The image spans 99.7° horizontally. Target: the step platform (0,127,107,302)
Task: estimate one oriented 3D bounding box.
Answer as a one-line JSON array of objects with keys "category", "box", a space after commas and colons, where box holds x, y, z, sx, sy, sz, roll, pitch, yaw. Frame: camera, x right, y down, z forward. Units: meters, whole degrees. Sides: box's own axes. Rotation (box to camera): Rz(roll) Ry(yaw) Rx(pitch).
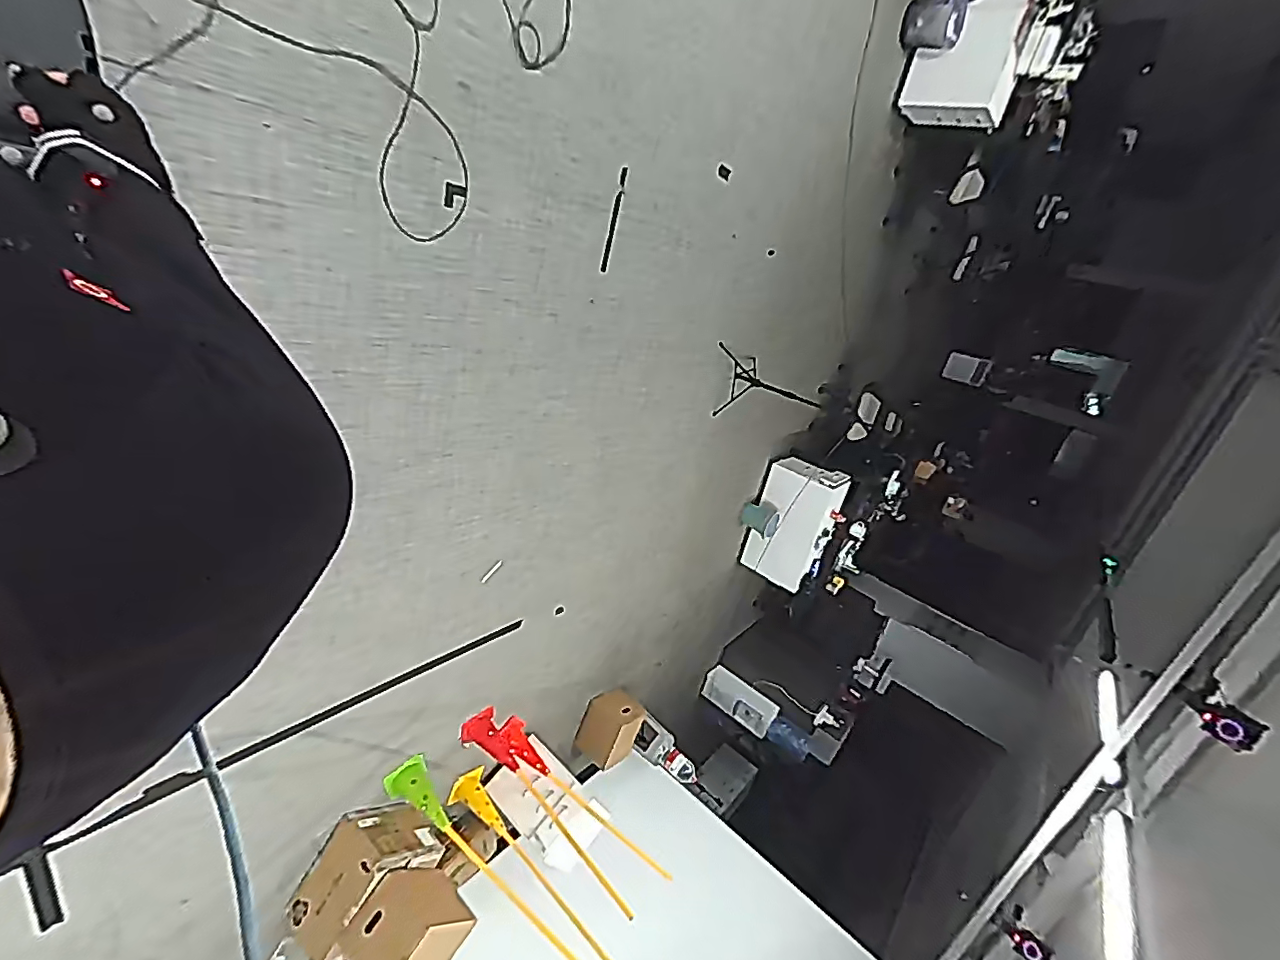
[{"category": "step platform", "box": [-1.295, -0.446, 0.826, 0.684, 0.204, 0.286, -16, 126, -48]}]
